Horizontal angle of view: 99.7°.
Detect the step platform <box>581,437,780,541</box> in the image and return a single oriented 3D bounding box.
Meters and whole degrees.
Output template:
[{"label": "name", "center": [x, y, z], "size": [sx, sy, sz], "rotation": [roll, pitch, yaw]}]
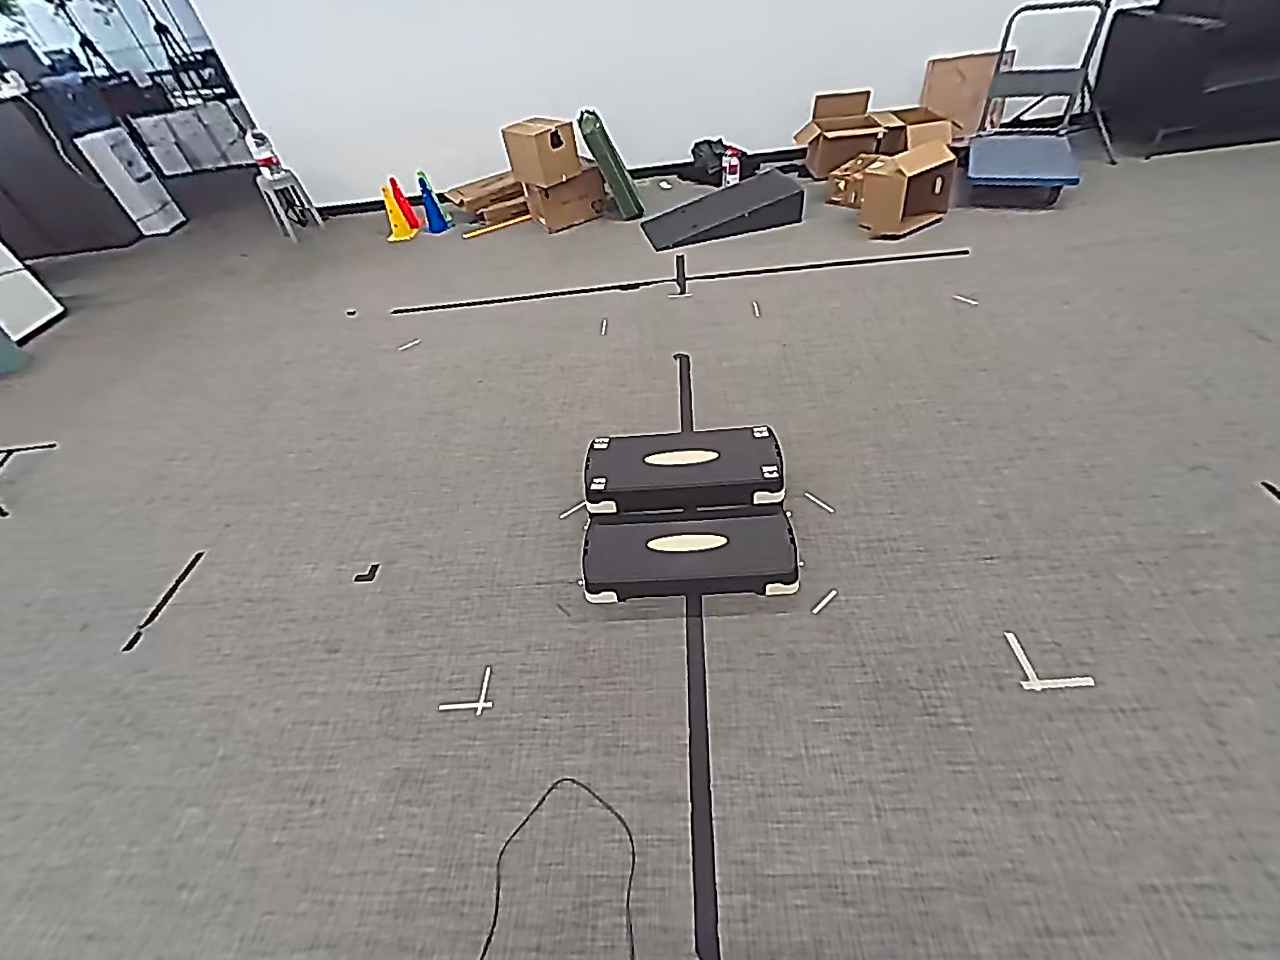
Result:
[{"label": "step platform", "center": [0.134, 0.025, 1.886], "size": [0.684, 0.204, 0.286], "rotation": [-4, 46, 4]}]
